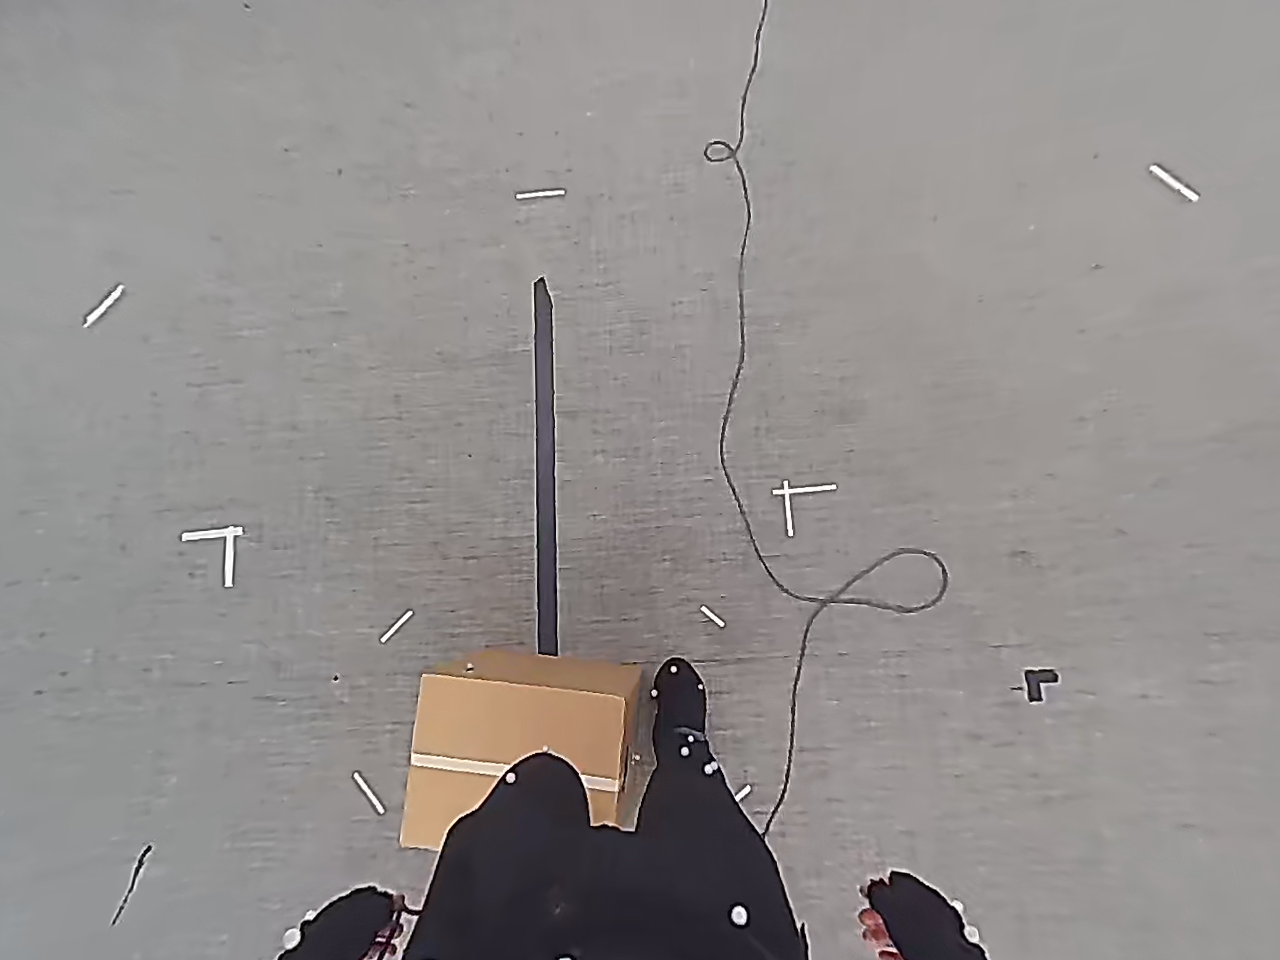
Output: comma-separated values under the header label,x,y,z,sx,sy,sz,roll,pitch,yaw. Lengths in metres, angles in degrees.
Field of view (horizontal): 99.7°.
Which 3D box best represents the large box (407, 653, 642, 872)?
label,x,y,z,sx,sy,sz,roll,pitch,yaw
large box,-0.217,0.564,1.154,0.408,0.320,0.320,4,83,6
